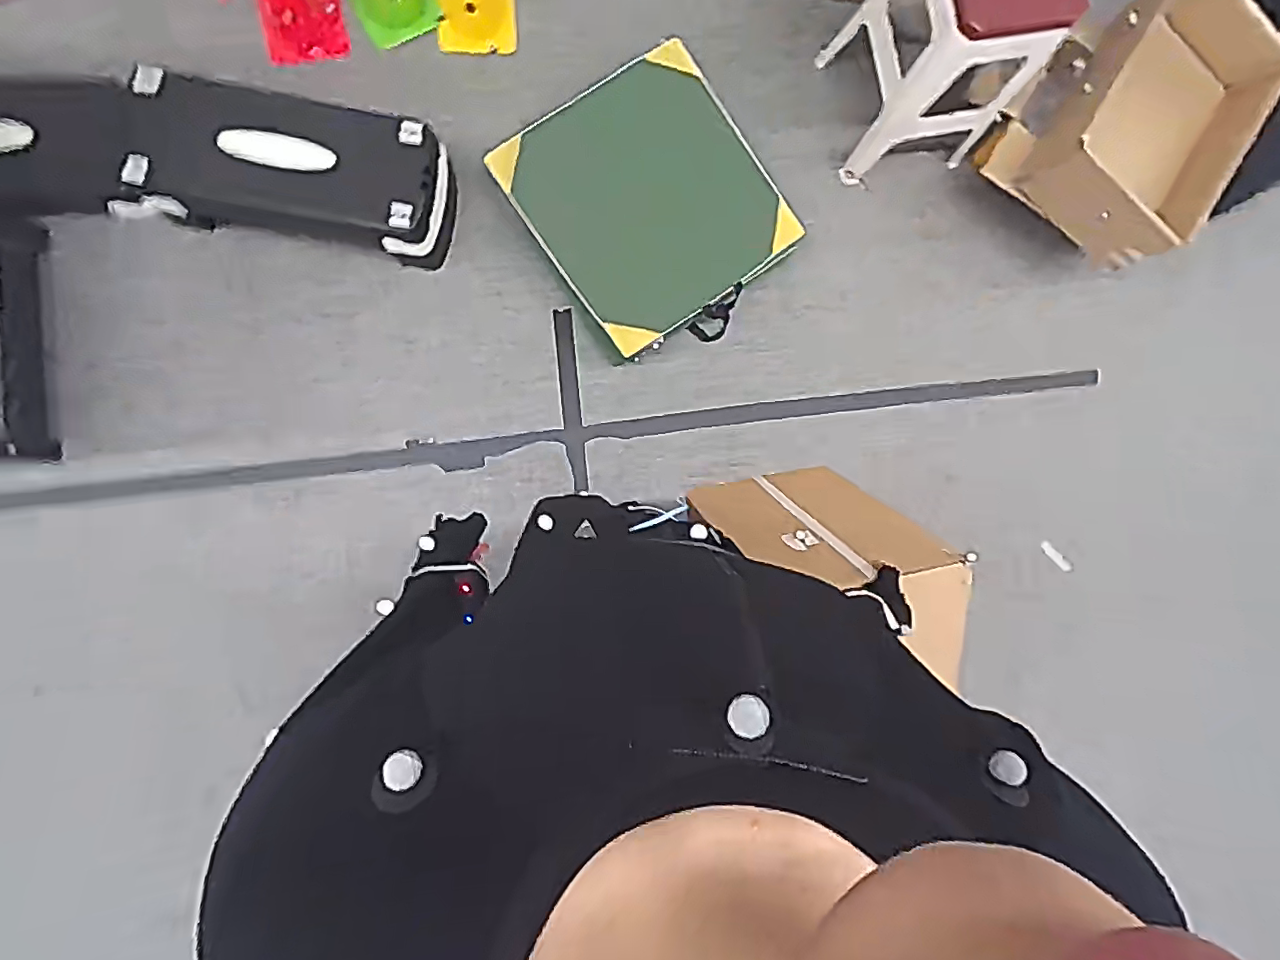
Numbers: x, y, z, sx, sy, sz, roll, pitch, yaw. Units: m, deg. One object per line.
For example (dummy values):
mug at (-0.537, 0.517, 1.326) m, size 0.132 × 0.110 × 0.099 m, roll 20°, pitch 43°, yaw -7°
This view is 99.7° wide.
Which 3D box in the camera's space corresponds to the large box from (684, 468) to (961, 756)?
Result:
large box at (0.292, 0.211, 1.004) m, size 0.320 × 0.408 × 0.320 m, roll -10°, pitch 115°, yaw -9°
